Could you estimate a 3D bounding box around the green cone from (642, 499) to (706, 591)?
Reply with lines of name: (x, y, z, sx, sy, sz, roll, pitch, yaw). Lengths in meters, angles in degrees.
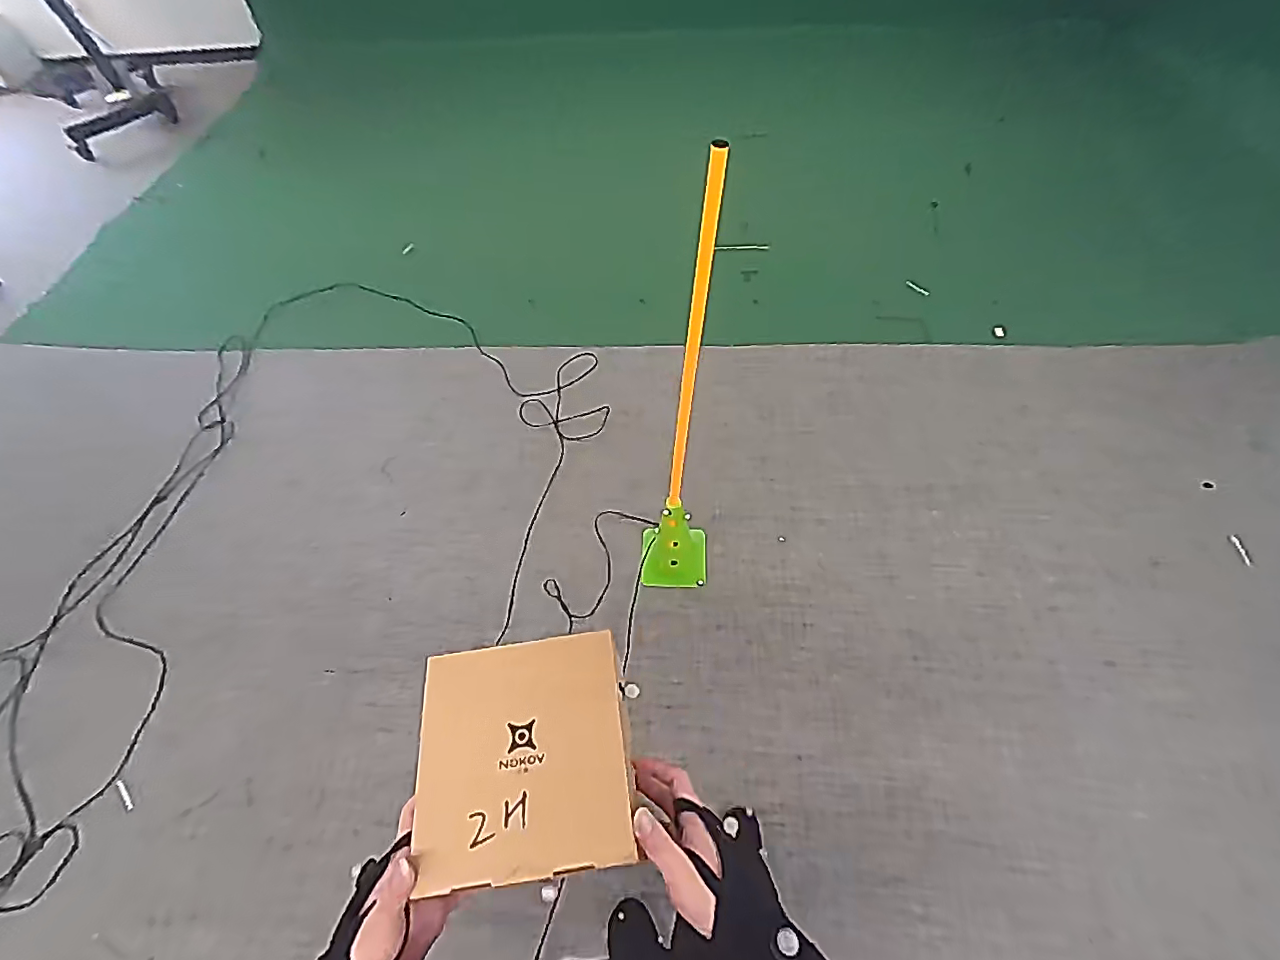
green cone: (0.096, 0.162, 1.566, 0.202, 0.368, 0.200, 0, 57, 5)

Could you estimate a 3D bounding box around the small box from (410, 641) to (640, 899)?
small box: (-0.091, 0.271, 0.505, 0.168, 0.176, 0.179, -7, 54, -2)
